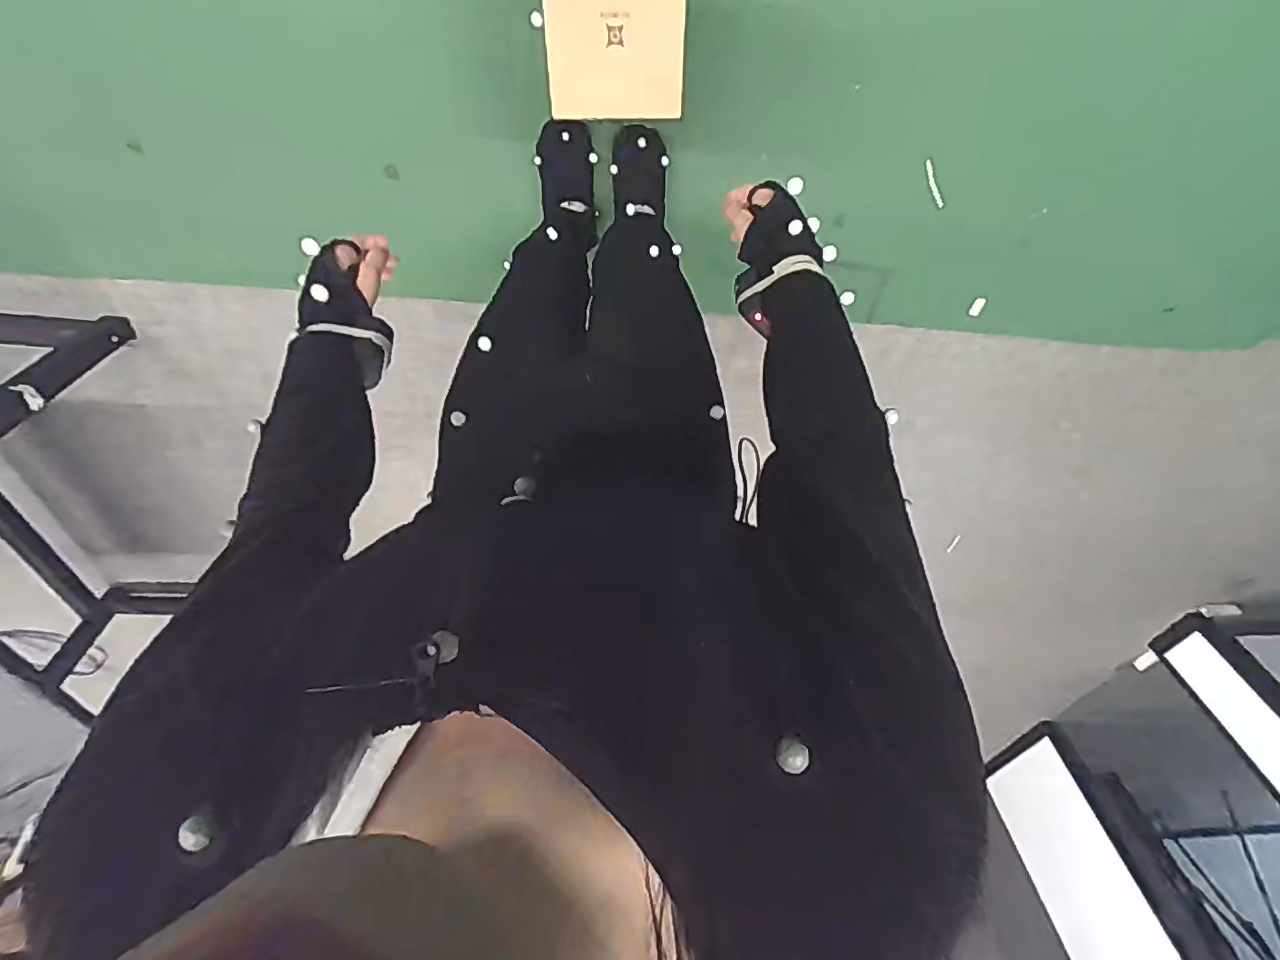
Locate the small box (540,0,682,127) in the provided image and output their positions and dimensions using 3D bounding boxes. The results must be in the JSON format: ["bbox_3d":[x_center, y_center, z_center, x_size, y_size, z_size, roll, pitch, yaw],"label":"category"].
[{"bbox_3d":[-0.036,-0.573,0.696,0.168,0.176,0.179,-2,131,-3],"label":"small box"}]
